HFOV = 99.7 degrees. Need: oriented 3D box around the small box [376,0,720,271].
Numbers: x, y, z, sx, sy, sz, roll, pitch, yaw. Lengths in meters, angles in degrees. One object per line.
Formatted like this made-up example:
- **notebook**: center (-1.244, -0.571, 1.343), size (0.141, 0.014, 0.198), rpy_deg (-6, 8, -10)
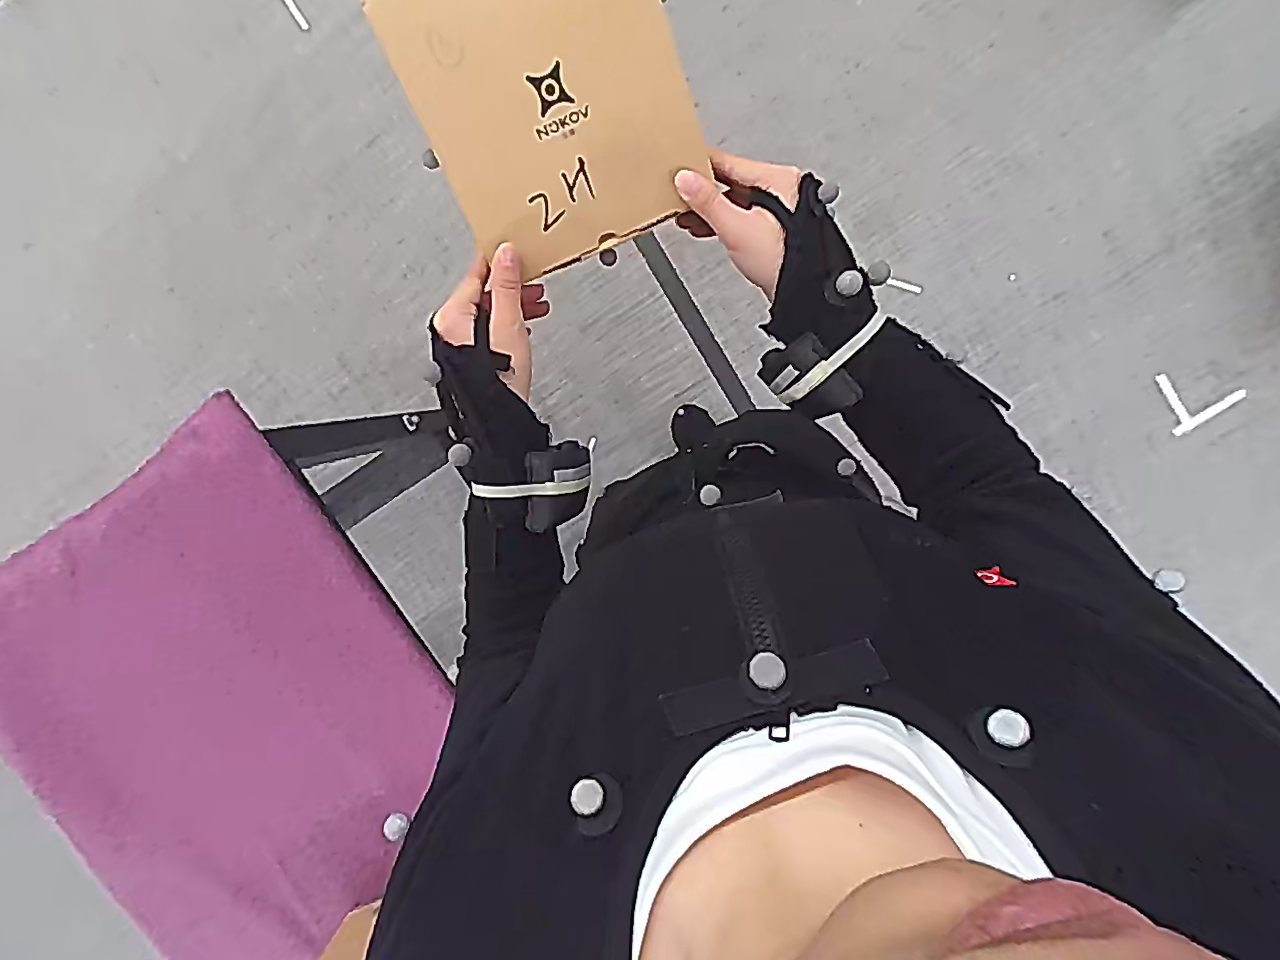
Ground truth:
- **small box**: center (-0.059, -0.274, 0.408), size (0.168, 0.176, 0.179), rpy_deg (-22, 113, 4)
